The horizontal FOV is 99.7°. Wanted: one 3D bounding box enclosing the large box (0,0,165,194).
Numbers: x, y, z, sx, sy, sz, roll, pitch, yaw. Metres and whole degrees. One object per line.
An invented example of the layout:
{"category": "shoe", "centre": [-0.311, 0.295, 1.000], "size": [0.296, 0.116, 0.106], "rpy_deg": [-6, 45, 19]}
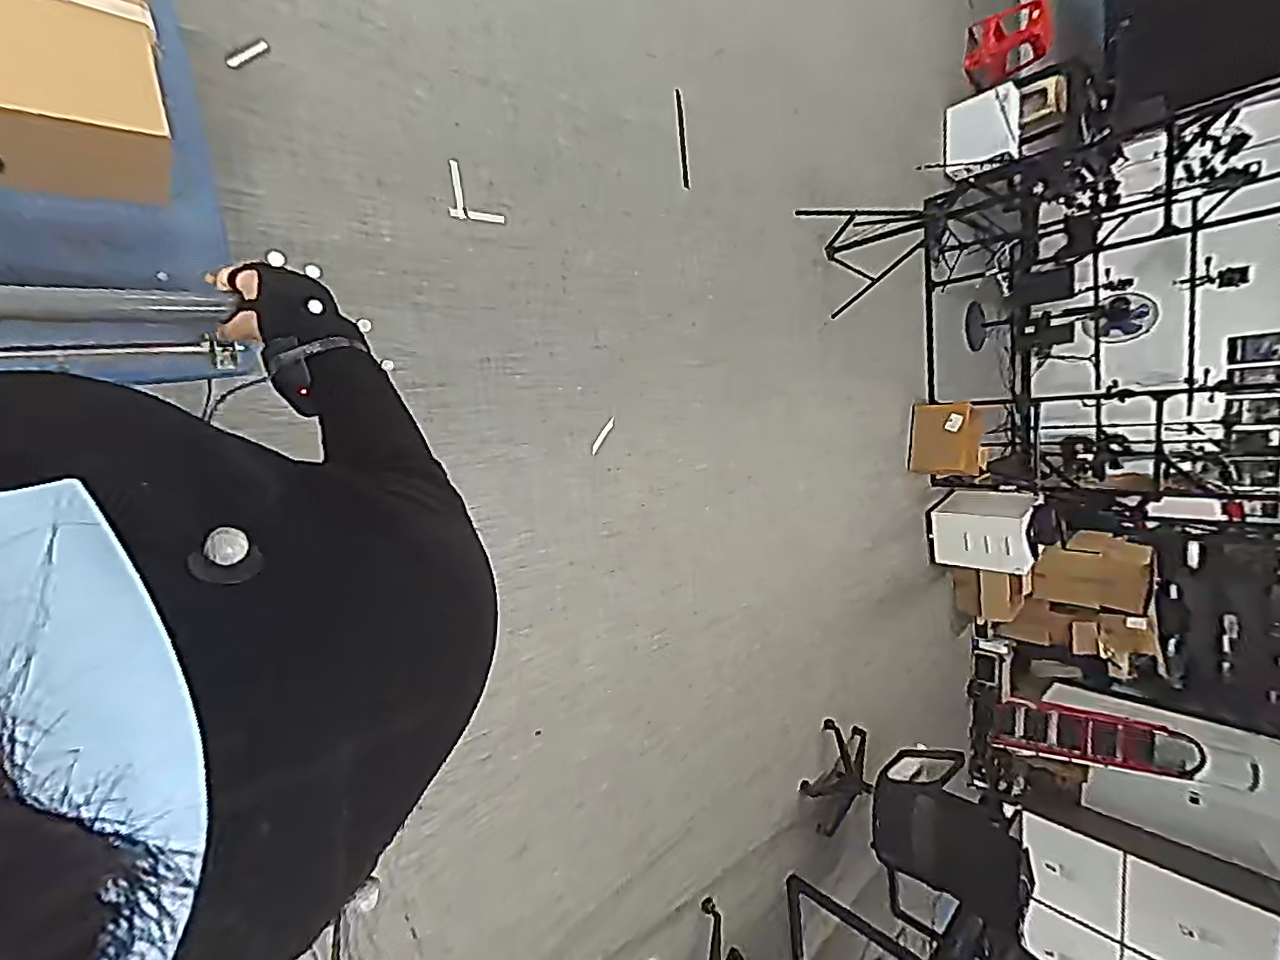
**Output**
{"category": "large box", "centre": [-0.963, -0.634, 0.754], "size": [0.408, 0.320, 0.320], "rpy_deg": [-14, 101, -40]}
